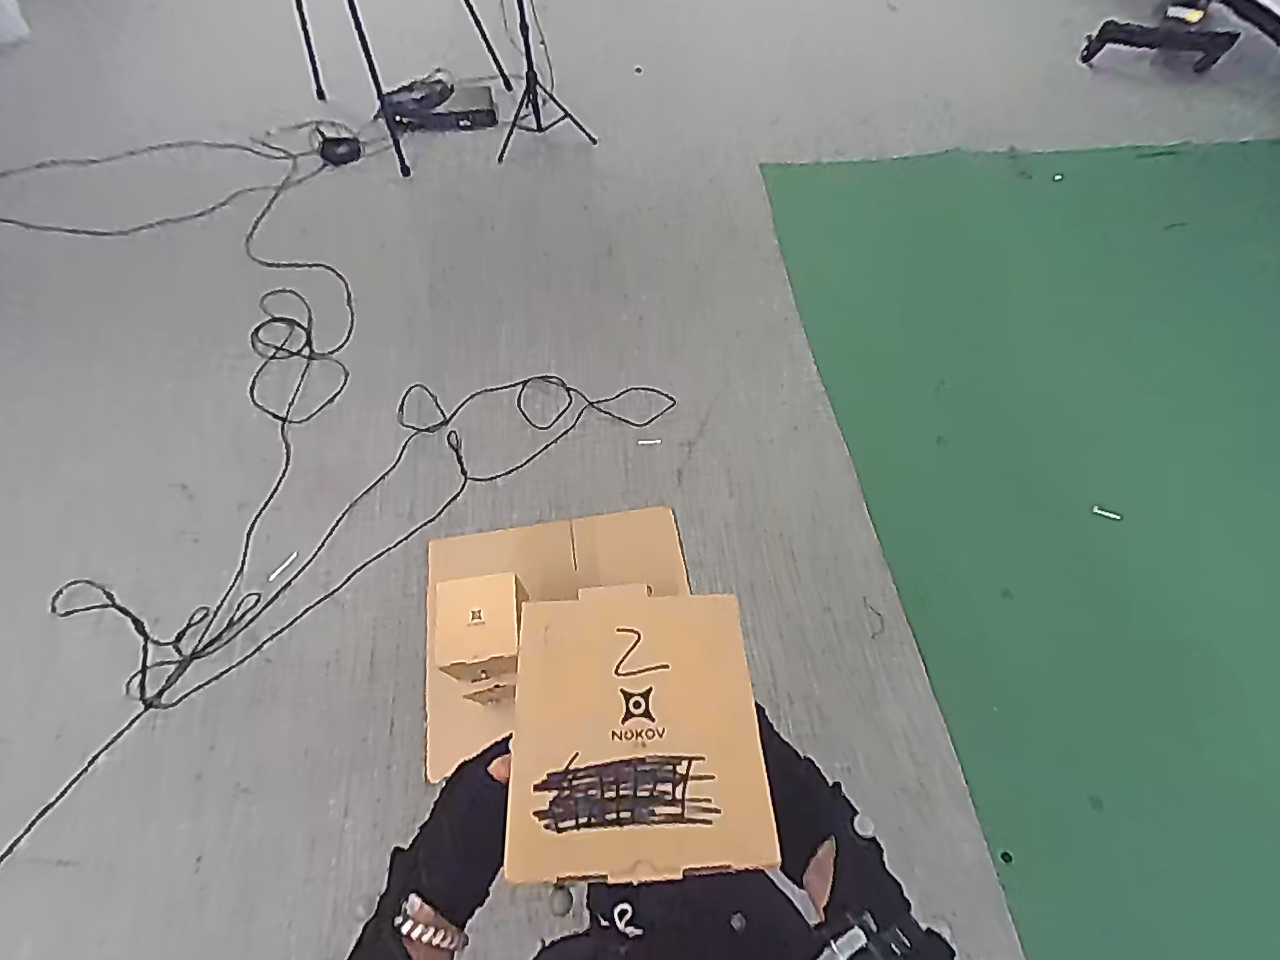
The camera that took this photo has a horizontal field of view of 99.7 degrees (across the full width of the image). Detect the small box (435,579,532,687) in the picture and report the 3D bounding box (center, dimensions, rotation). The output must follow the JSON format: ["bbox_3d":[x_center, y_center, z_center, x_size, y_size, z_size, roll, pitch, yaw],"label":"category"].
[{"bbox_3d":[-0.330,0.331,1.161,0.168,0.176,0.179,-8,61,-5],"label":"small box"}]

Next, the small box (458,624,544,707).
[{"bbox_3d":[-0.330,0.434,1.290,0.168,0.176,0.179,-10,62,-6],"label":"small box"}]

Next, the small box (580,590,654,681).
[{"bbox_3d":[-0.058,0.382,1.322,0.168,0.176,0.179,-5,62,-2],"label":"small box"}]
